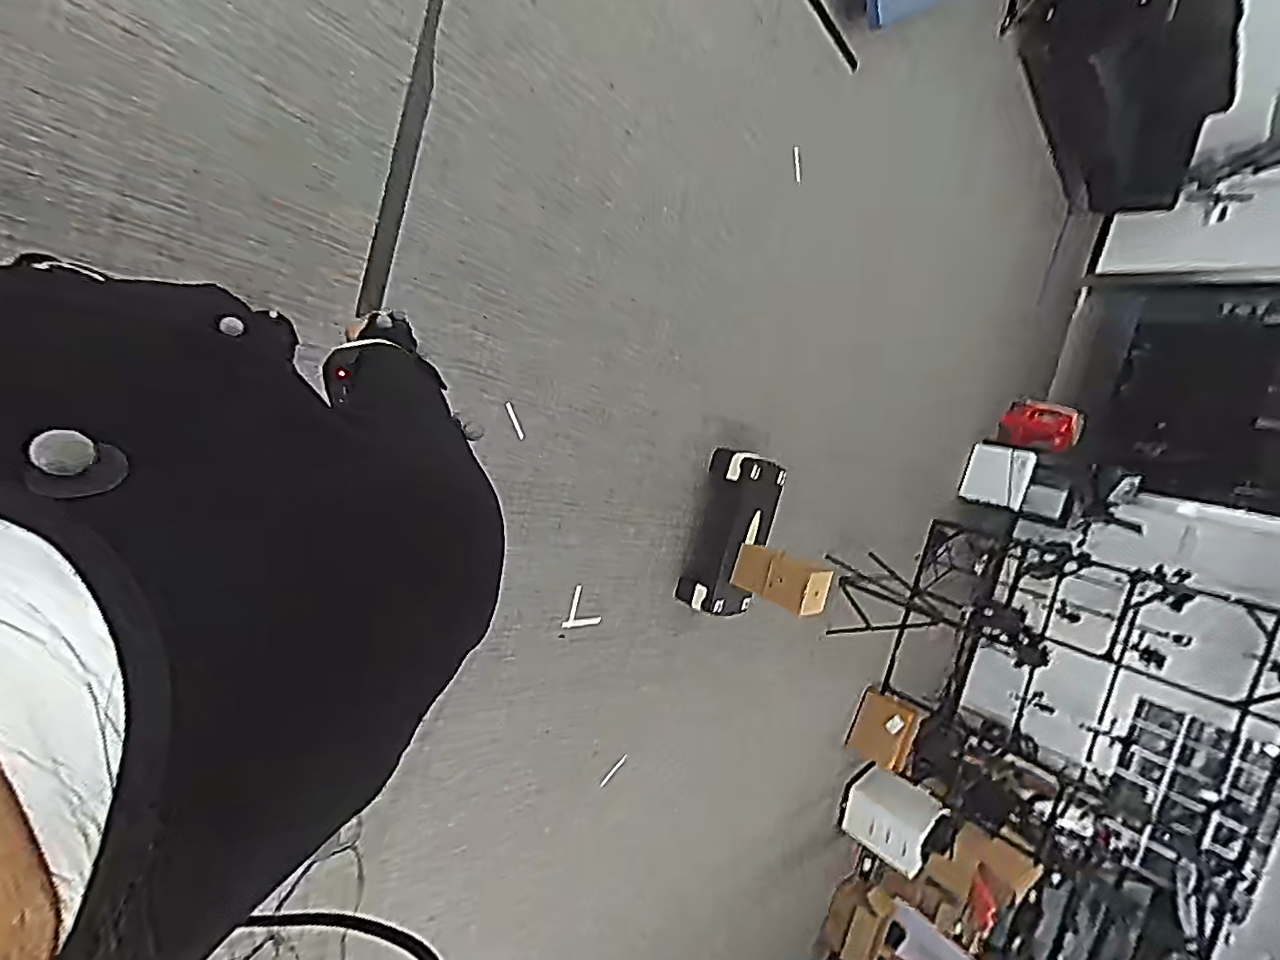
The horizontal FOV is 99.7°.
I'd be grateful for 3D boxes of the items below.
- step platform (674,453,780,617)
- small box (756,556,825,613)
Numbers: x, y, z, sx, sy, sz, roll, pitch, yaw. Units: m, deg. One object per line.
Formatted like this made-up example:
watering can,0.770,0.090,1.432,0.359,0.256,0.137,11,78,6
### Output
step platform,0.379,0.237,2.308,0.286,0.204,0.684,10,96,-46
small box,0.576,0.394,2.069,0.179,0.176,0.168,7,99,-44
